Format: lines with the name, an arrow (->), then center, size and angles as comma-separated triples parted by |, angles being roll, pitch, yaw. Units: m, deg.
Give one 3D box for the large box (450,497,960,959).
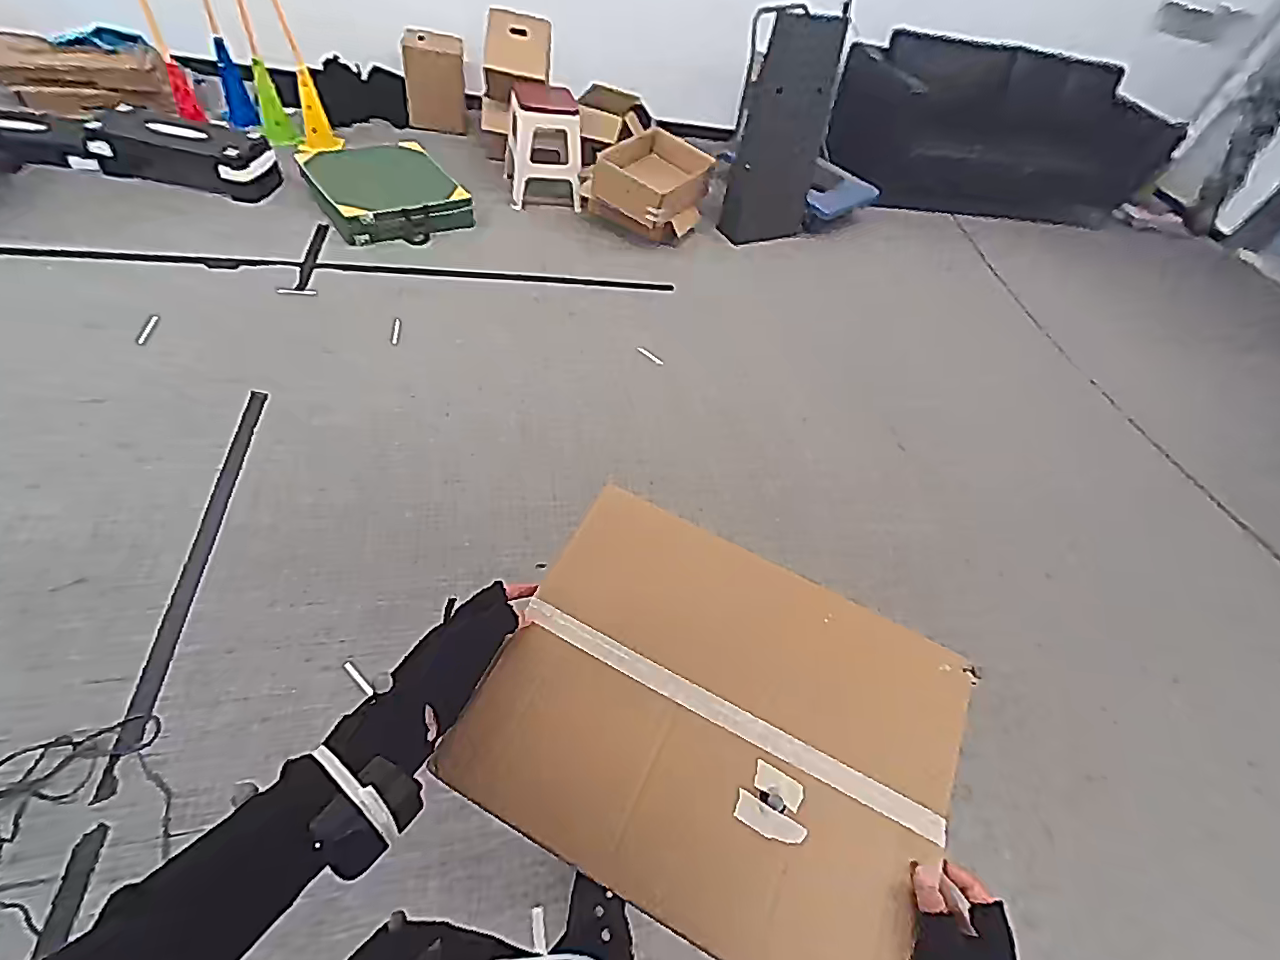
large box -> 0.065, 0.287, 0.627 | 0.408, 0.320, 0.320 | 26, 62, 10
